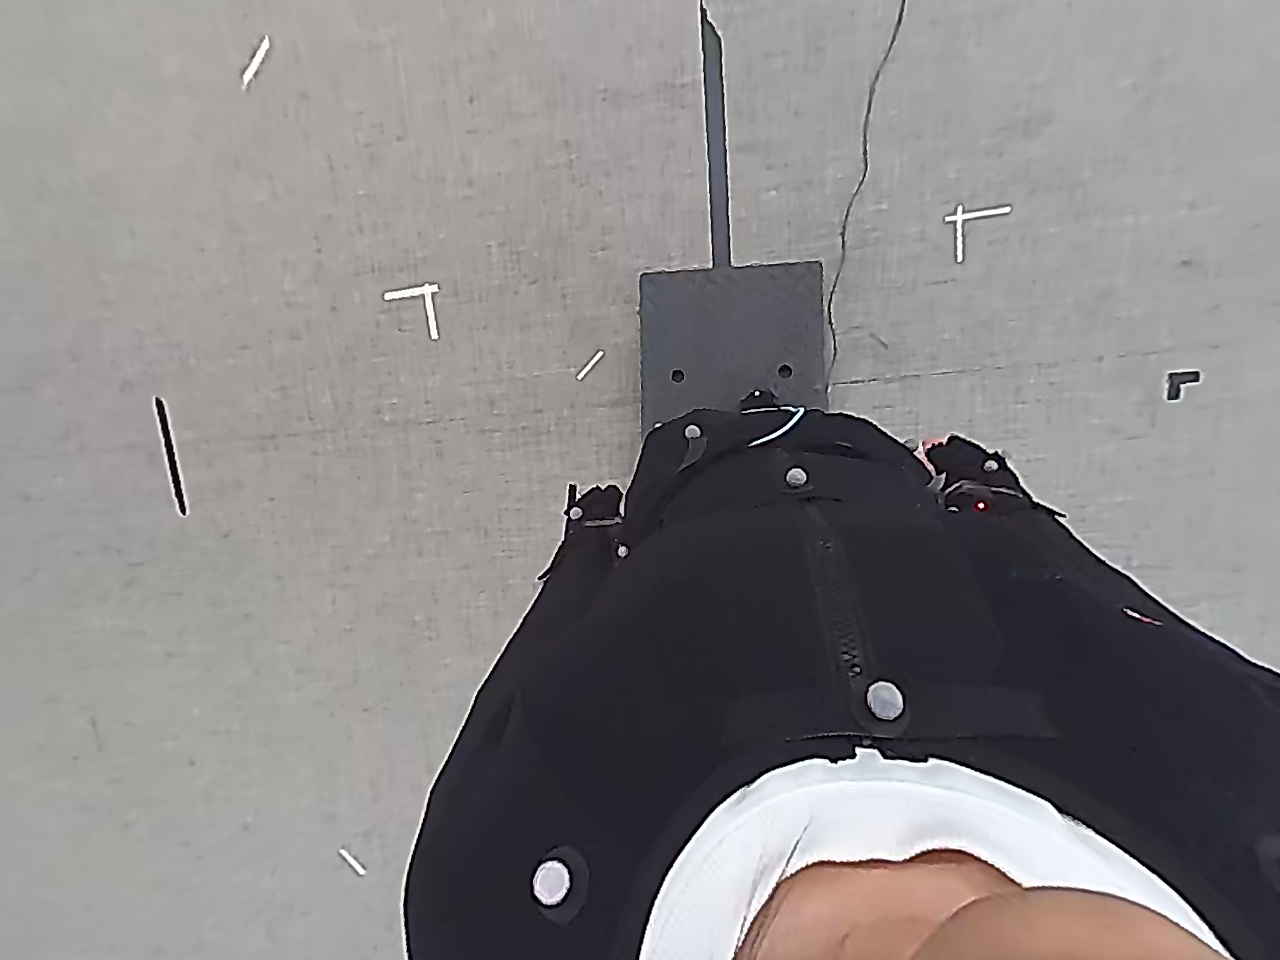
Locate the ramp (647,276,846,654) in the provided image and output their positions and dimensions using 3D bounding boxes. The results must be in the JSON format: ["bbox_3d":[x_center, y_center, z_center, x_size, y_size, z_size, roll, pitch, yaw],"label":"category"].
[{"bbox_3d":[0.271,-0.043,1.459,0.509,0.206,0.991,-4,95,10],"label":"ramp"}]
